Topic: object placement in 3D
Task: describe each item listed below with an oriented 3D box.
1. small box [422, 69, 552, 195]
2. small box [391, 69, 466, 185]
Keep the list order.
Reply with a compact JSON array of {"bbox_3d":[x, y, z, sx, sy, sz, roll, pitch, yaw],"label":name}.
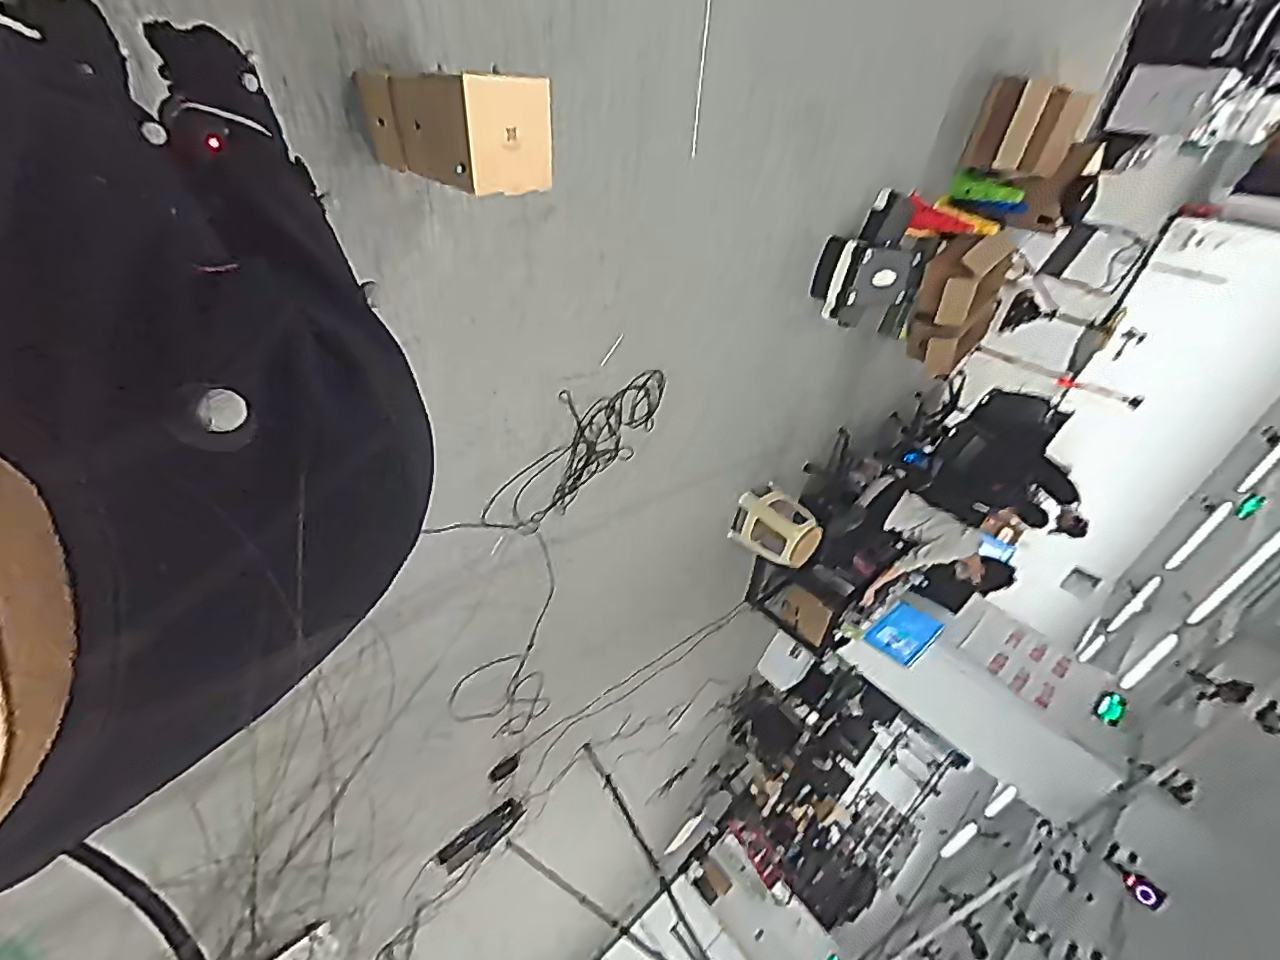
[{"bbox_3d":[-0.278,-0.634,0.985,0.168,0.176,0.179,-25,136,-33],"label":"small box"},{"bbox_3d":[-0.374,-0.714,1.090,0.168,0.176,0.179,-27,137,-31],"label":"small box"}]
